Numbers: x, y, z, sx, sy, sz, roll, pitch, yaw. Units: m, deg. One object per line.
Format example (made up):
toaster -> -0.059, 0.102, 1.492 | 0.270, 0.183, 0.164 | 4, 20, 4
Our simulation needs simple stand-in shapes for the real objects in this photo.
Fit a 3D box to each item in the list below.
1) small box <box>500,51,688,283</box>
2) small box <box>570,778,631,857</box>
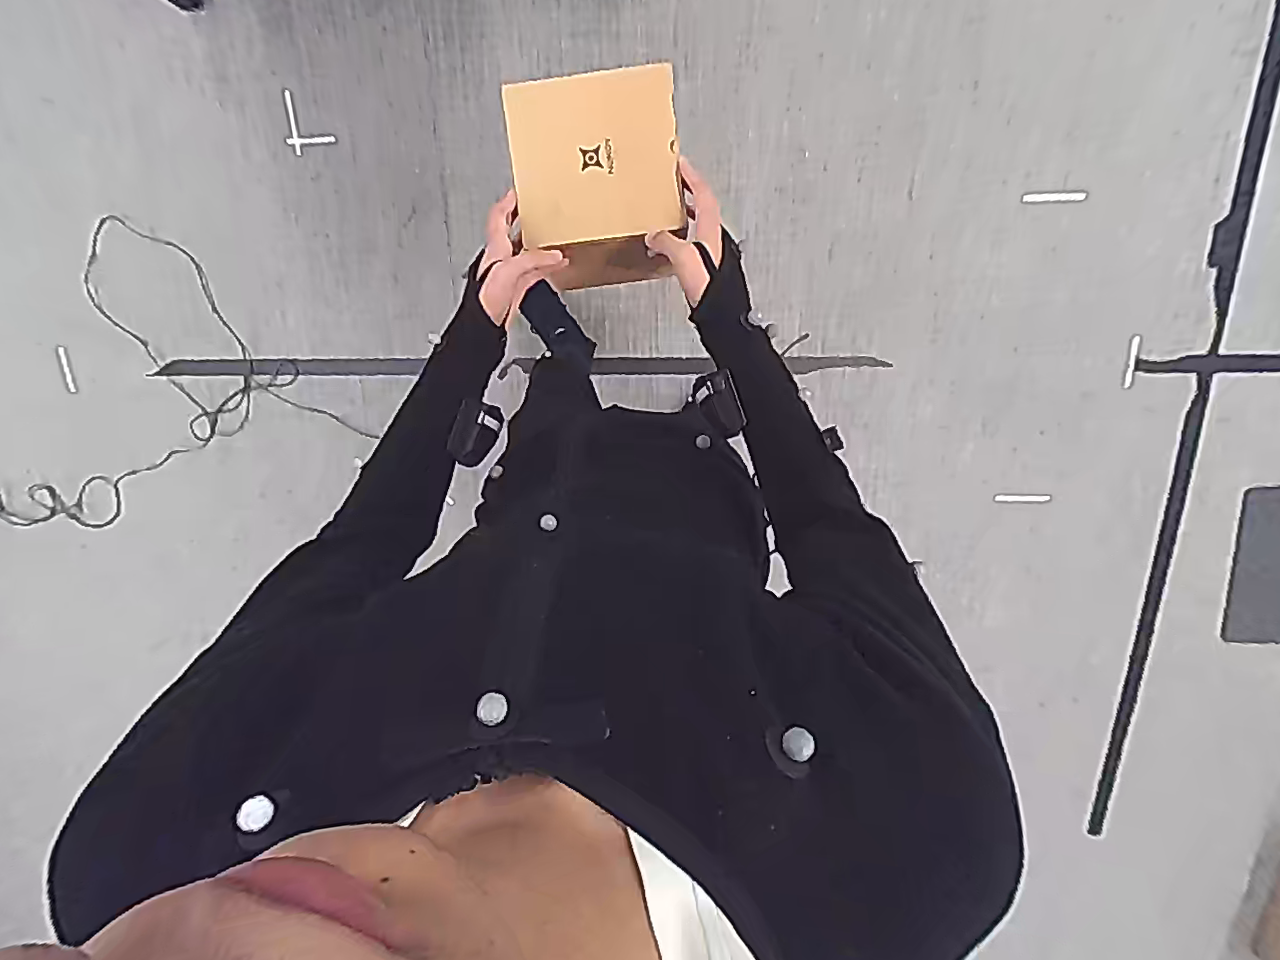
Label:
small box -> -0.043, -0.337, 0.619 | 0.179, 0.176, 0.168 | -7, 94, 2
small box -> -0.132, 1.185, 1.897 | 0.168, 0.176, 0.179 | -11, 104, 6
